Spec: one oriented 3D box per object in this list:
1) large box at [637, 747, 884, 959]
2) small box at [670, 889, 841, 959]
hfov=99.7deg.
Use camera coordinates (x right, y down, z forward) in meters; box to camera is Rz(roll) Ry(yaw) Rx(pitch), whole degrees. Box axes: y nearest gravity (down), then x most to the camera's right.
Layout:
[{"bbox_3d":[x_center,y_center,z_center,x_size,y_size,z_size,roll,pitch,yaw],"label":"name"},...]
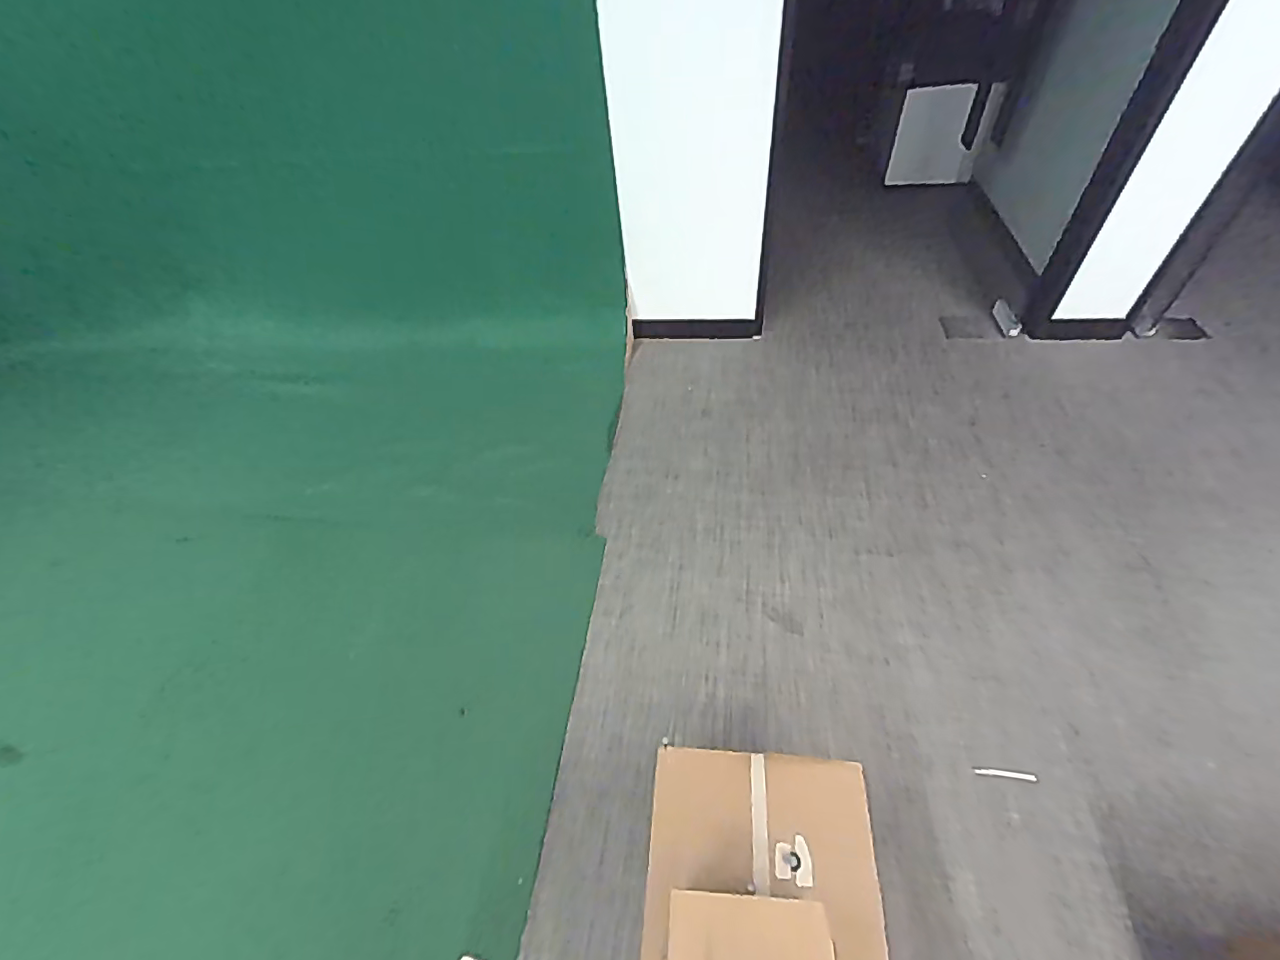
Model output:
[{"bbox_3d":[0.170,0.677,0.821,0.320,0.320,0.408,2,48,8],"label":"large box"},{"bbox_3d":[0.123,0.568,0.595,0.179,0.176,0.168,-1,48,9],"label":"small box"}]
